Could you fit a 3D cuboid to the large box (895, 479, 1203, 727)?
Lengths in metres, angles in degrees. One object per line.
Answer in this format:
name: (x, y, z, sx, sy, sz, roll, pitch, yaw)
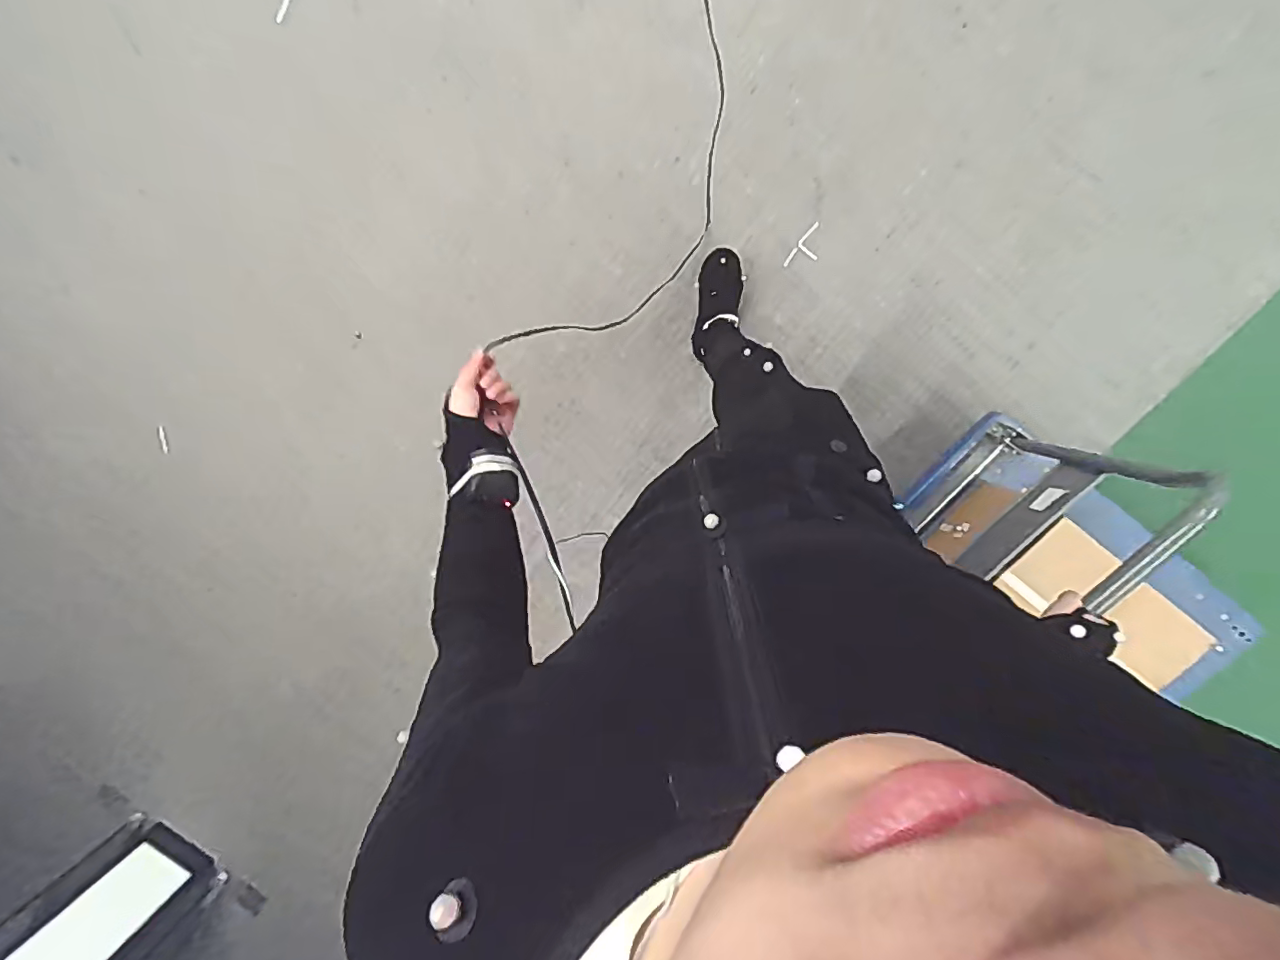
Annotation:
large box: (0.888, 0.258, 1.243, 0.408, 0.320, 0.320, 38, 105, -3)
